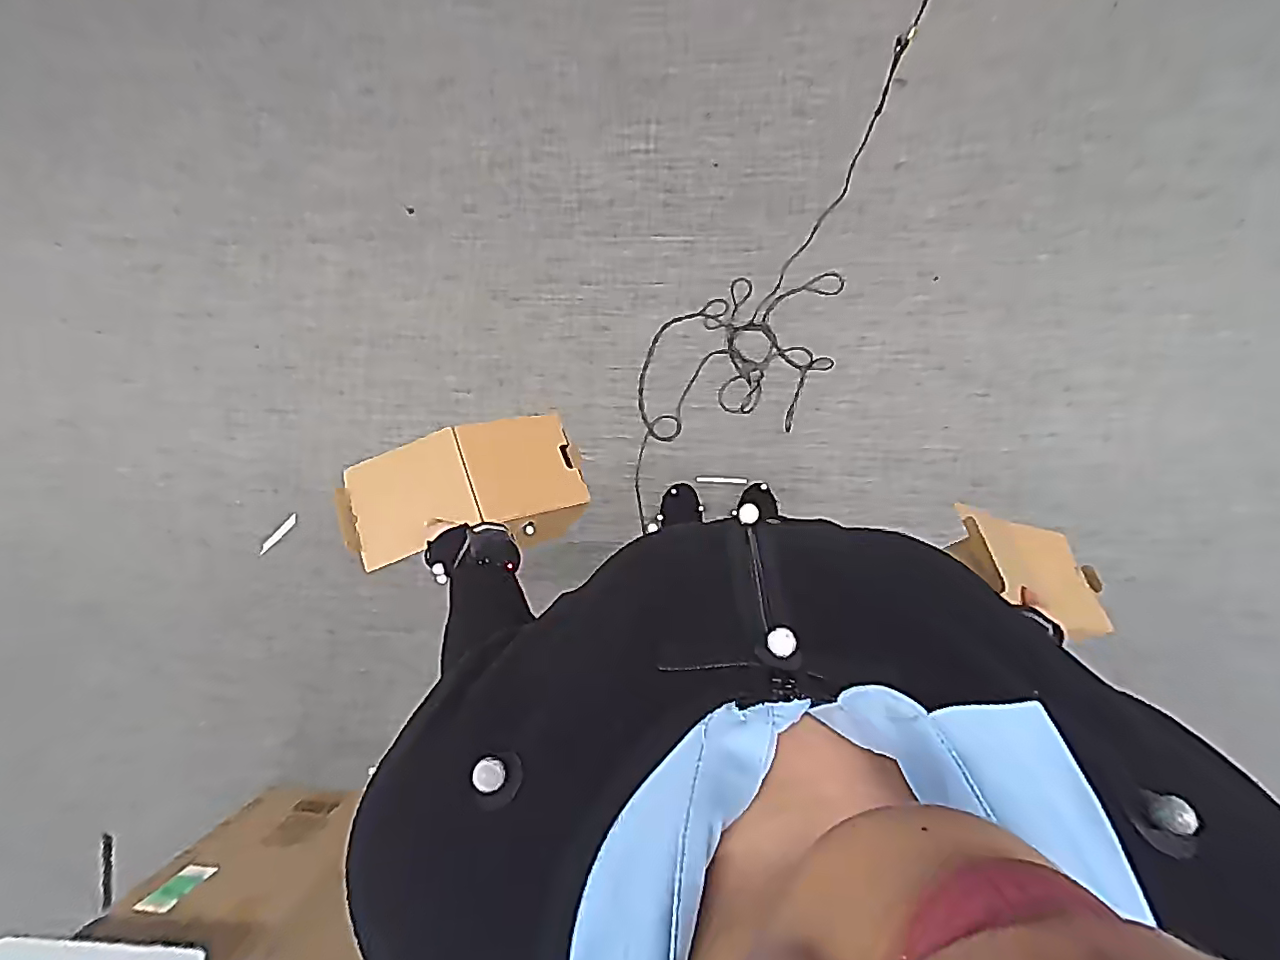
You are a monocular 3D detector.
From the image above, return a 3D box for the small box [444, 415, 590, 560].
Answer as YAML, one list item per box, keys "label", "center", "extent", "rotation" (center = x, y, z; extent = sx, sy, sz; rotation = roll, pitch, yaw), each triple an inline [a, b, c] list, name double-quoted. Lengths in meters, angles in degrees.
- label: "small box"
  center: [-0.209, 0.015, 0.876]
  extent: [0.179, 0.176, 0.168]
  rotation: [-11, 69, -32]
